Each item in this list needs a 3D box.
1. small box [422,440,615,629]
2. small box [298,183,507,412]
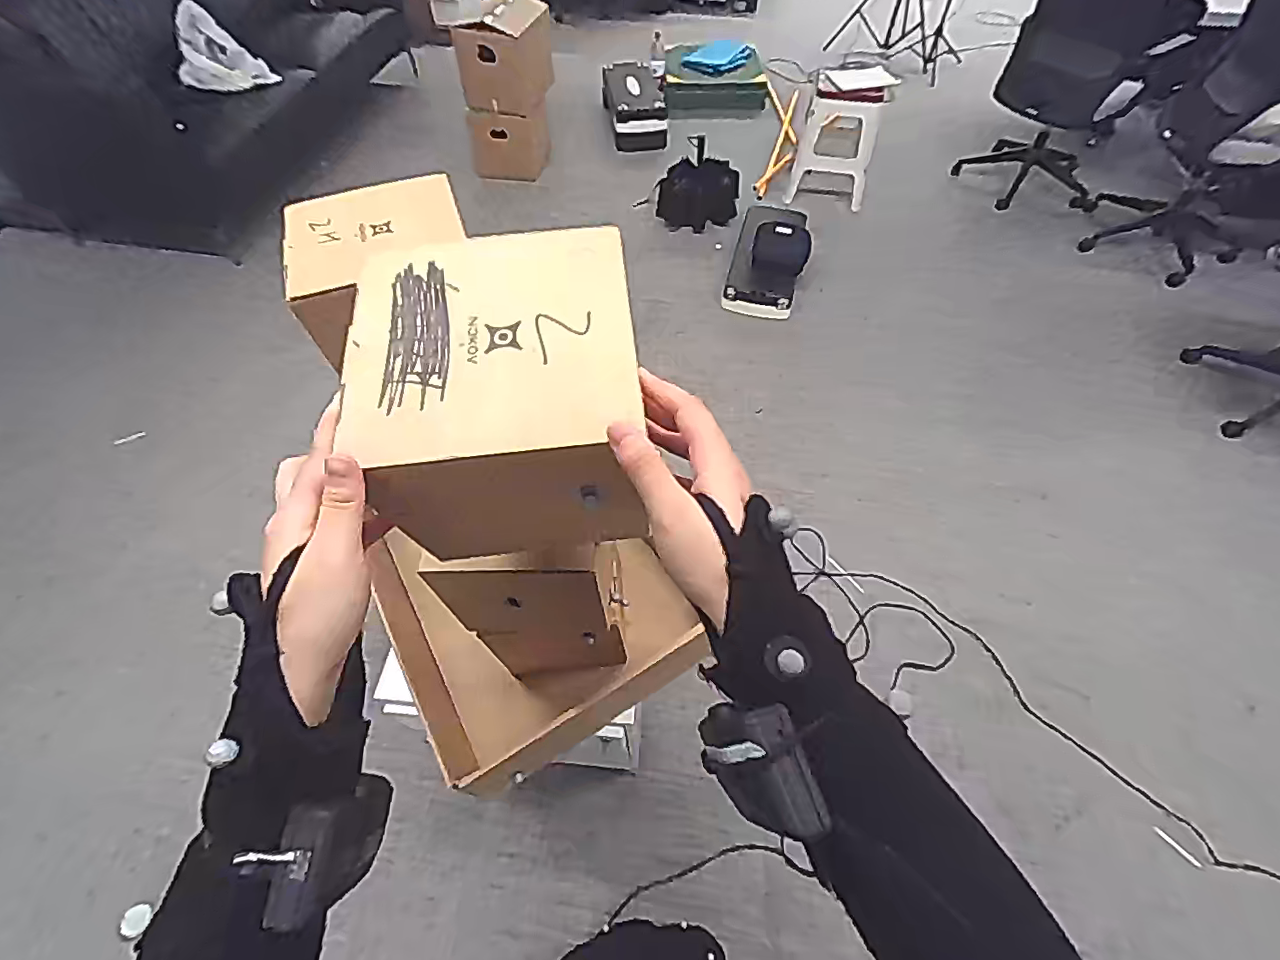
[{"bbox_3d":[-0.124,0.068,0.640,0.179,0.176,0.168,-1,54,3],"label":"small box"},{"bbox_3d":[-0.265,-0.208,0.633,0.179,0.176,0.168,-18,58,-9],"label":"small box"}]
